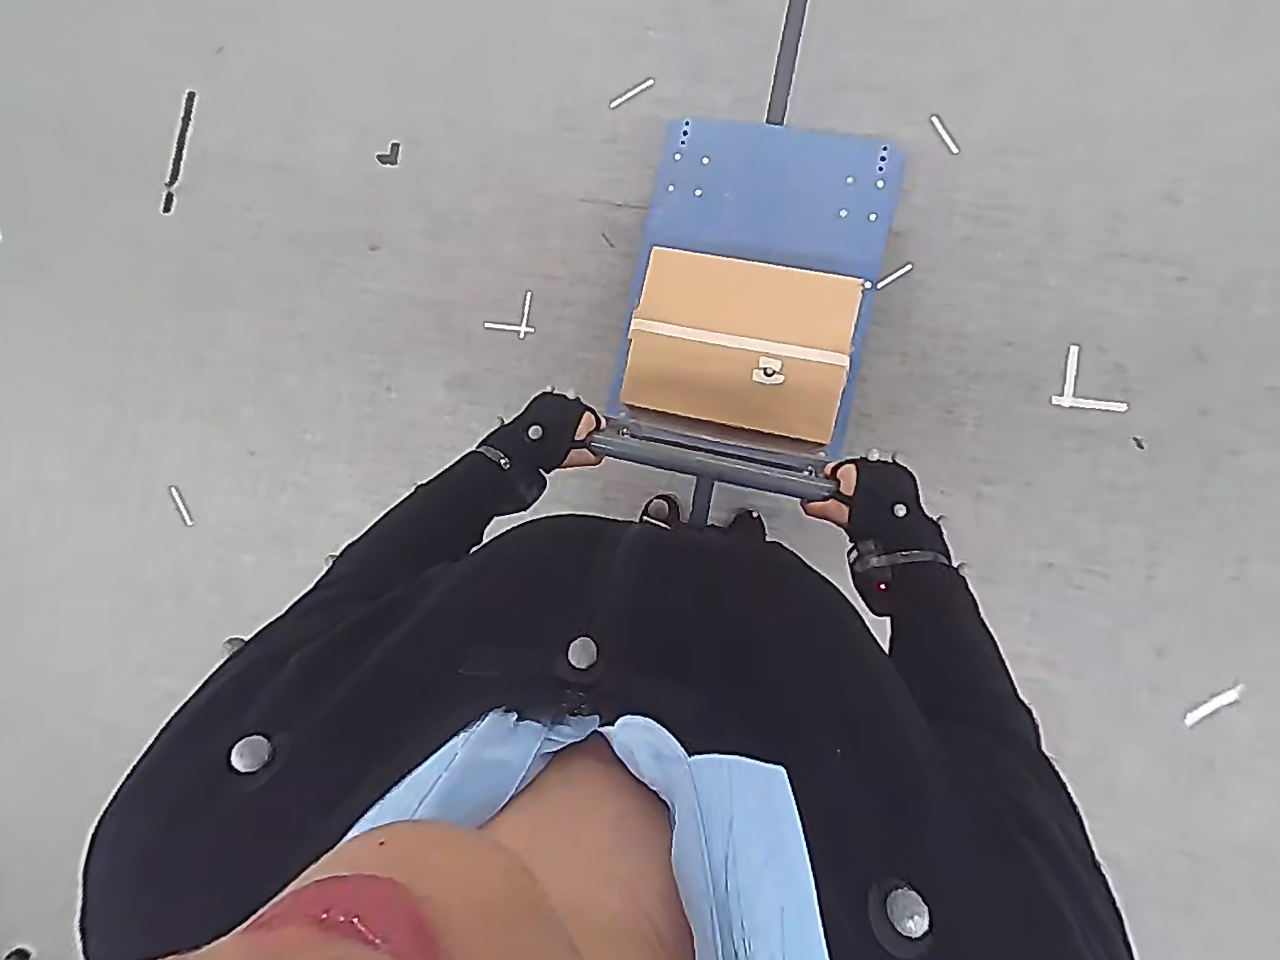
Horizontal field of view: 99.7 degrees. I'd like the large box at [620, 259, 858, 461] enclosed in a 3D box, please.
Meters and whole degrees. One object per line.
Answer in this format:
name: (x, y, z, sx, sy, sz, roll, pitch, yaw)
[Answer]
large box: (0.196, -0.236, 1.163, 0.408, 0.320, 0.320, 12, 90, 7)
